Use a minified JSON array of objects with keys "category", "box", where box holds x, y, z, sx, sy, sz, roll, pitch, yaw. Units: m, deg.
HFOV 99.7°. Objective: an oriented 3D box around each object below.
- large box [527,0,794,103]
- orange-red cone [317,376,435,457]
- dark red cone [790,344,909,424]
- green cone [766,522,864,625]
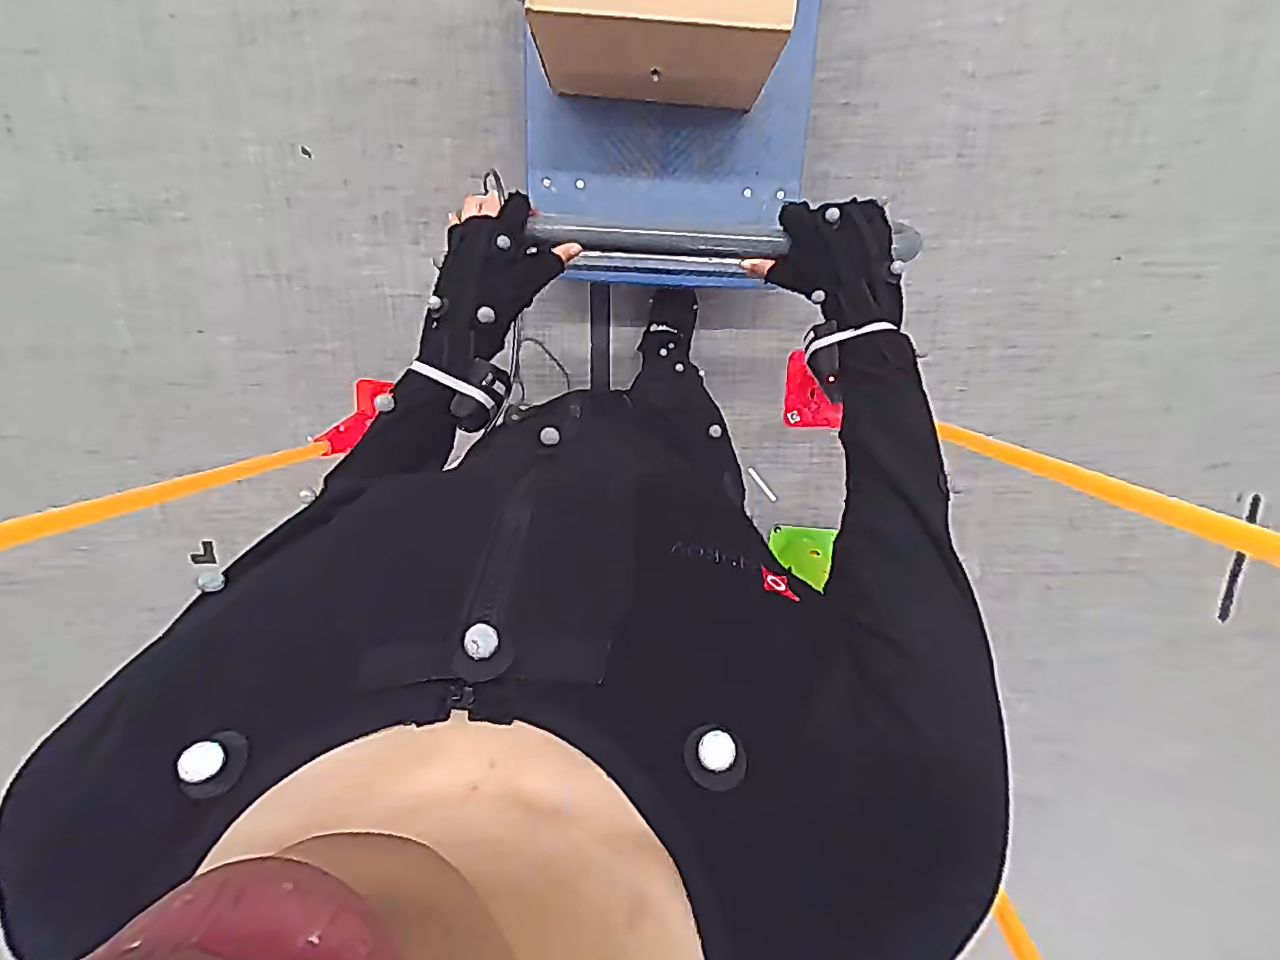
[{"category":"large box","box":[0.038,-0.873,0.909,0.408,0.320,0.320,3,106,-1]},{"category":"orange-red cone","box":[-0.640,-0.124,1.260,0.198,0.360,0.199,7,104,-3]},{"category":"dark red cone","box":[0.491,-0.201,1.227,0.201,0.394,0.202,0,106,-2]},{"category":"green cone","box":[0.469,0.262,1.373,0.202,0.368,0.200,4,105,-3]}]
